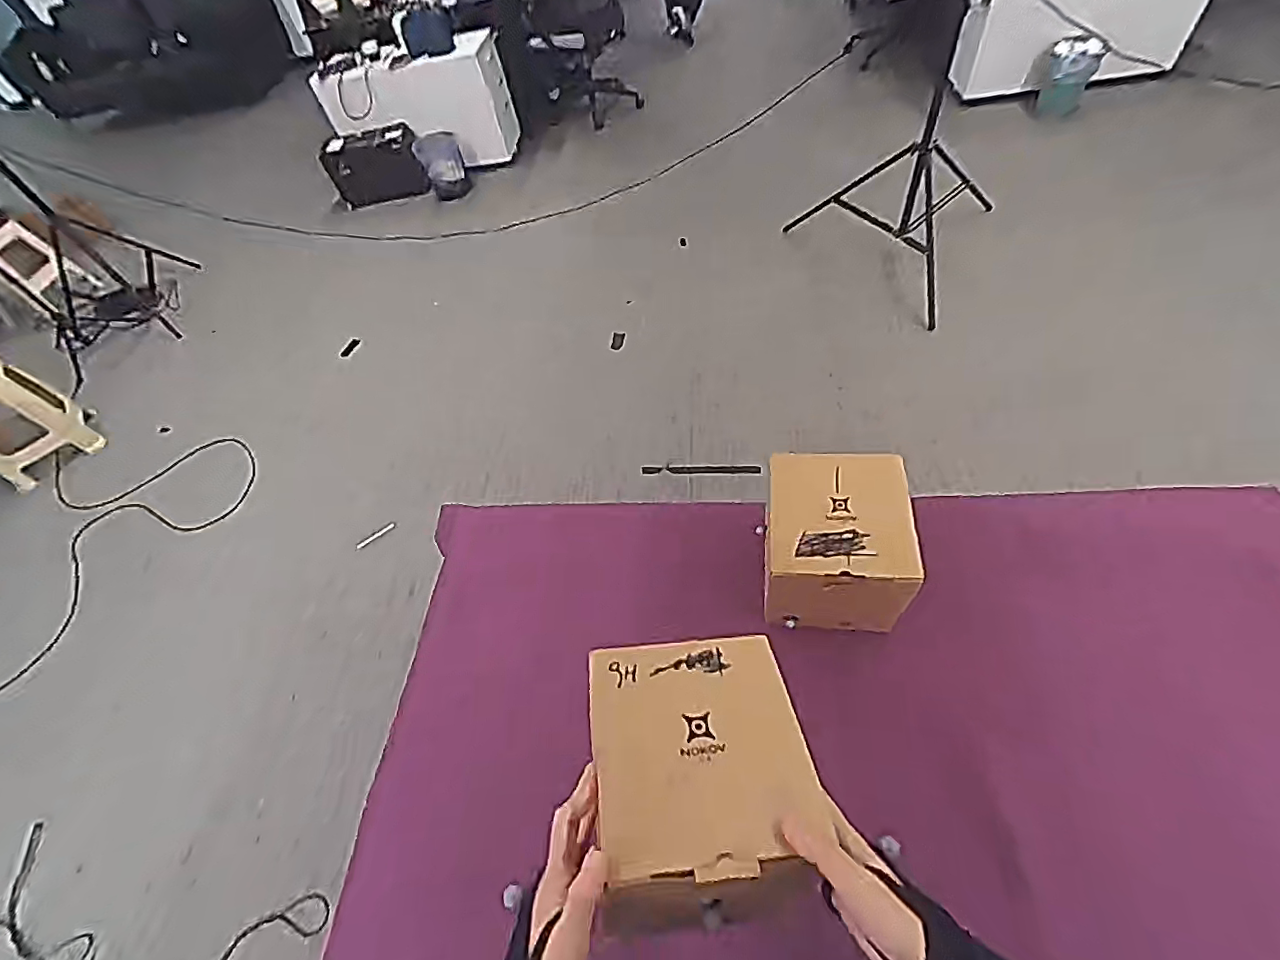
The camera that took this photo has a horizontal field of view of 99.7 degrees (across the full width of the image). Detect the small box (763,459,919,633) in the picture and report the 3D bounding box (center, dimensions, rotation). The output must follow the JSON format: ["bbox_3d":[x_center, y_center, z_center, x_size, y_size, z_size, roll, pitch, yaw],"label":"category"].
[{"bbox_3d":[0.253,0.091,0.719,0.168,0.176,0.179,2,55,11],"label":"small box"}]

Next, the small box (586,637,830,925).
[{"bbox_3d":[0.042,0.267,0.480,0.168,0.176,0.179,-4,41,-7],"label":"small box"}]
